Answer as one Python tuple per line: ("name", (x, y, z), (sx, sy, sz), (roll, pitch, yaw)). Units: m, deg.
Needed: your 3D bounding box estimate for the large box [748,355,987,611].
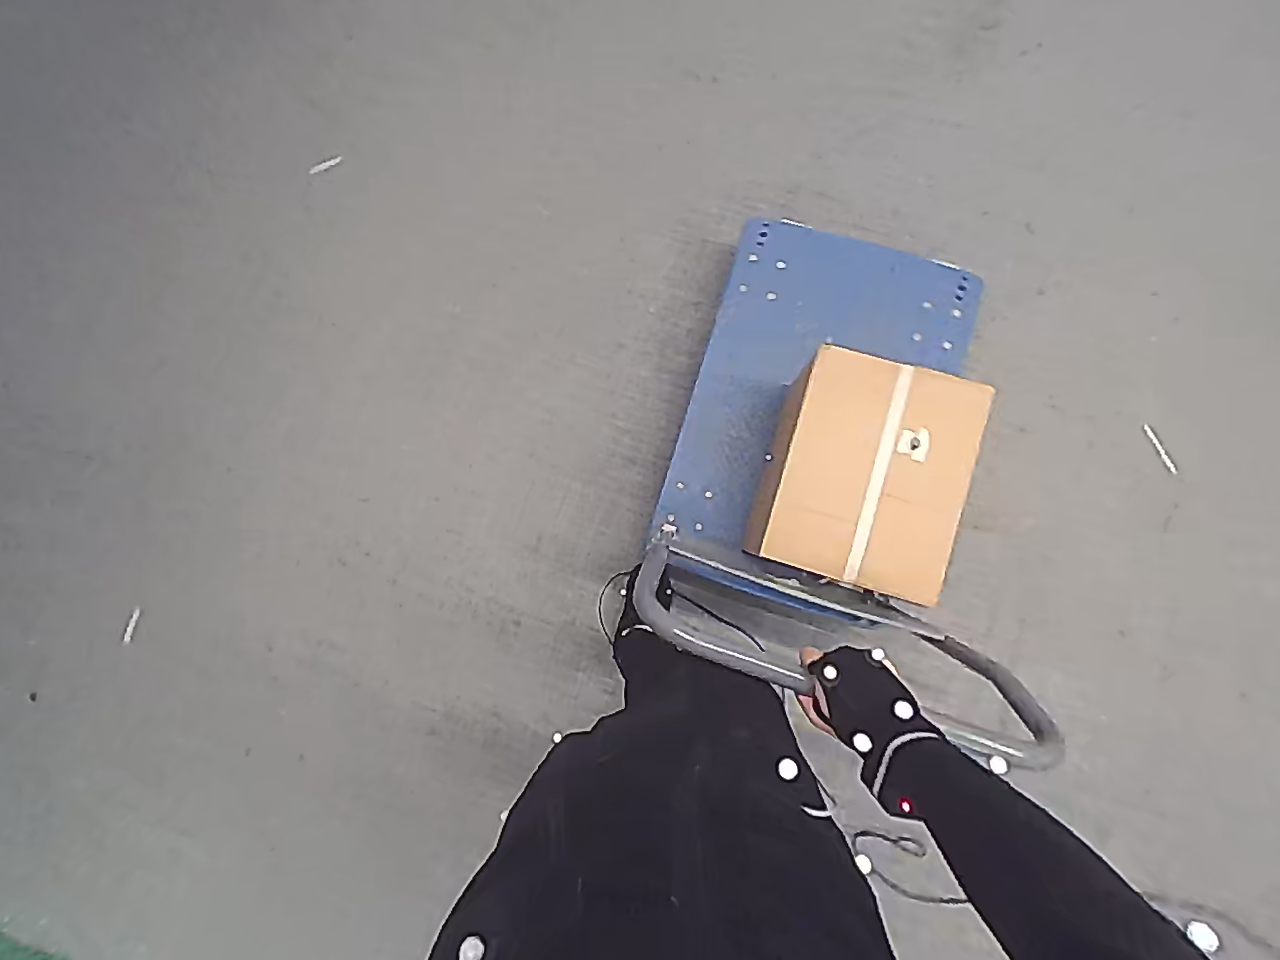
("large box", (0.433, 0.015, 1.112), (0.320, 0.320, 0.408), (17, 86, 5))
